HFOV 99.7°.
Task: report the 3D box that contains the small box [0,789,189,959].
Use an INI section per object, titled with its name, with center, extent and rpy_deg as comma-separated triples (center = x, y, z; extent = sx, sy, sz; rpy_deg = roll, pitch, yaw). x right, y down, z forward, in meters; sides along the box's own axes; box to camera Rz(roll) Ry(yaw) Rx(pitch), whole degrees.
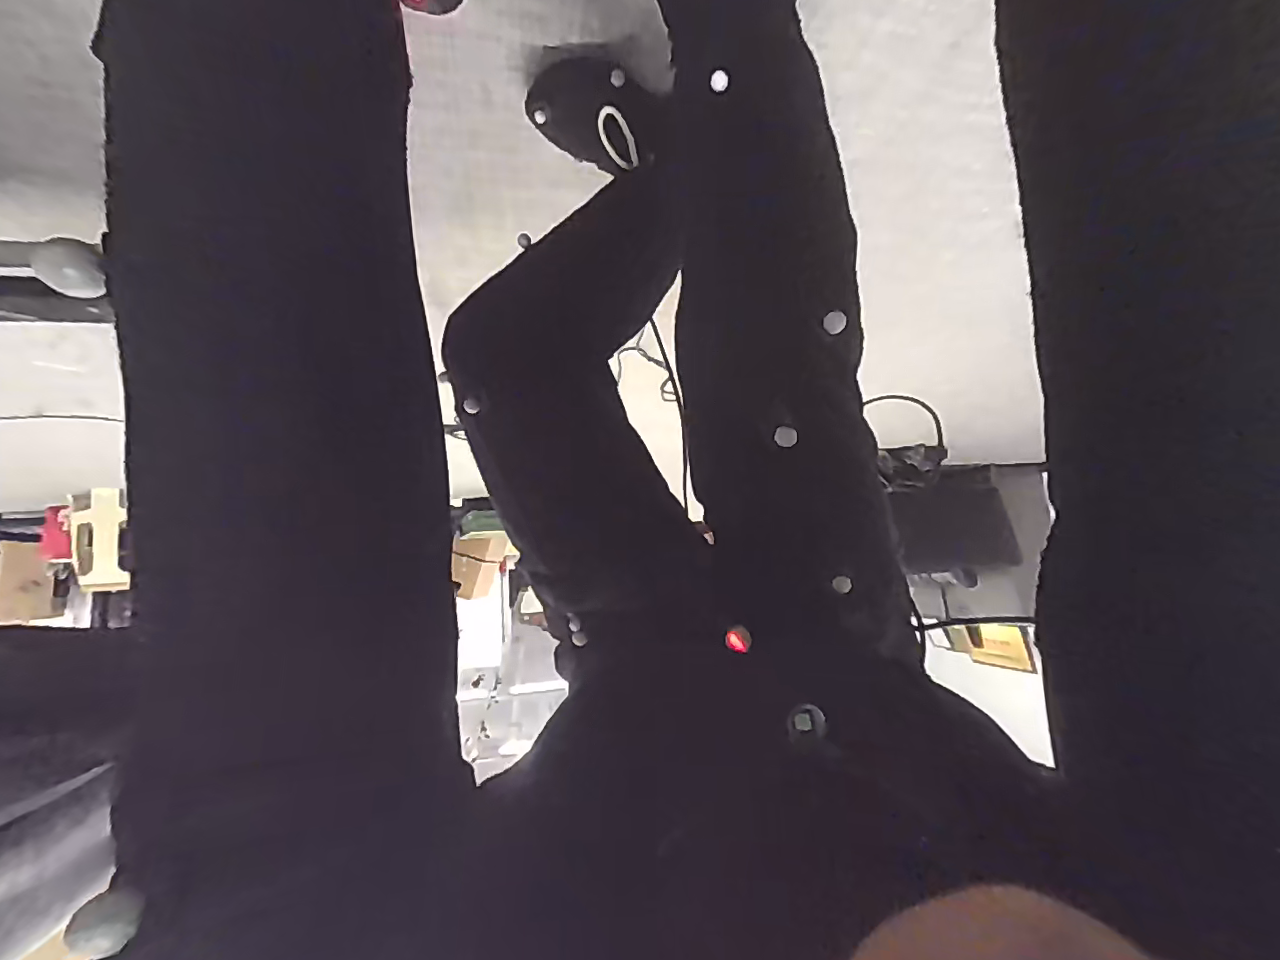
[small box]
center = -0.552, 0.398, 0.484
extent = 0.179, 0.176, 0.168
rpy_deg = -3, 169, -9
